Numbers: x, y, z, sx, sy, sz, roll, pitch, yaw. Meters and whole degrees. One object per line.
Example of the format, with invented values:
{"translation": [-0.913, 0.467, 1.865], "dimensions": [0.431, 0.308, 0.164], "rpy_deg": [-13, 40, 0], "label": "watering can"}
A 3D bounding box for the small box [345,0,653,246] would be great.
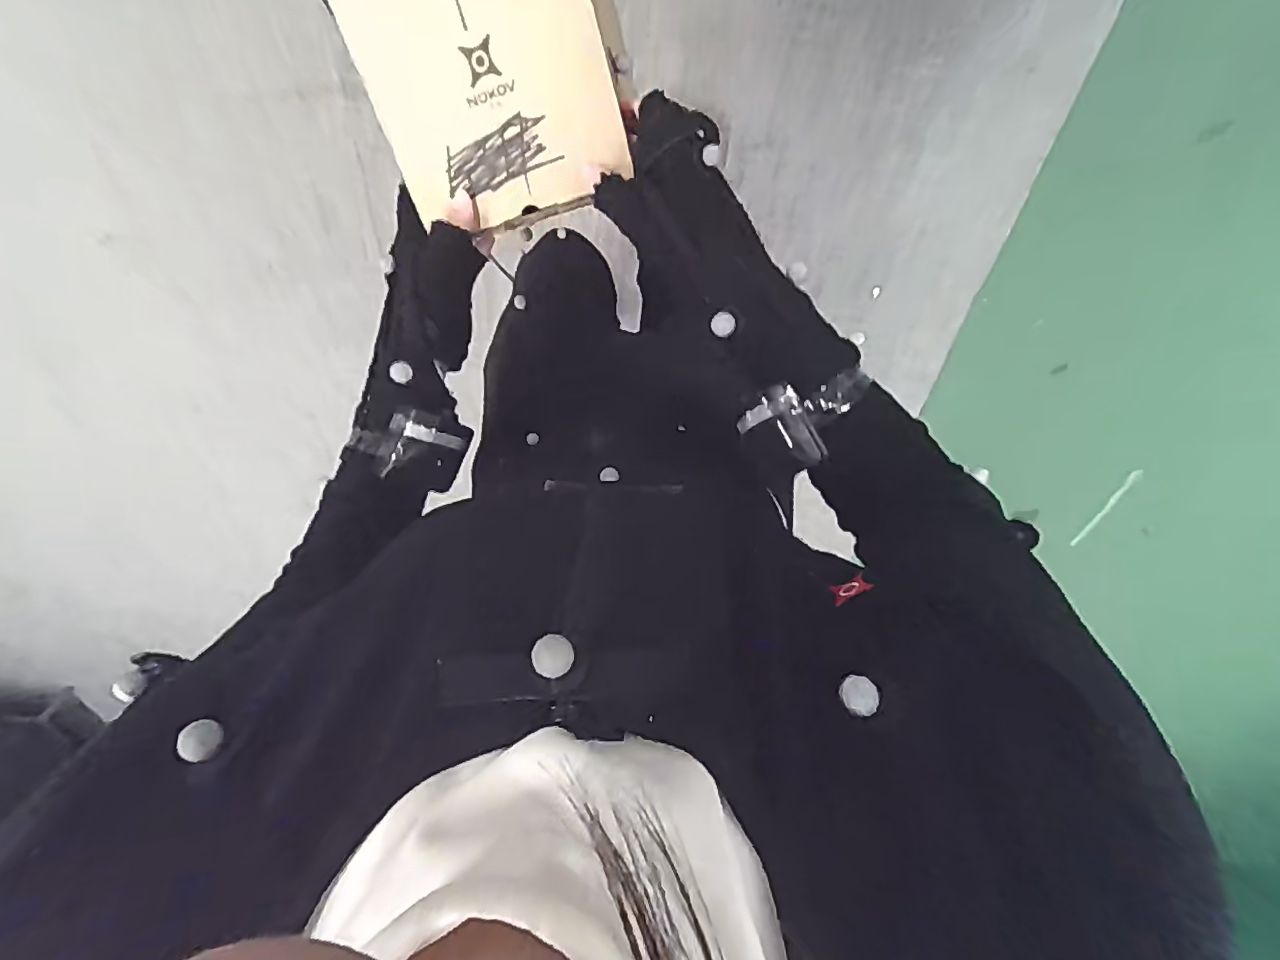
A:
{"translation": [-0.092, -0.309, 0.444], "dimensions": [0.168, 0.176, 0.179], "rpy_deg": [-10, 114, 13], "label": "small box"}
